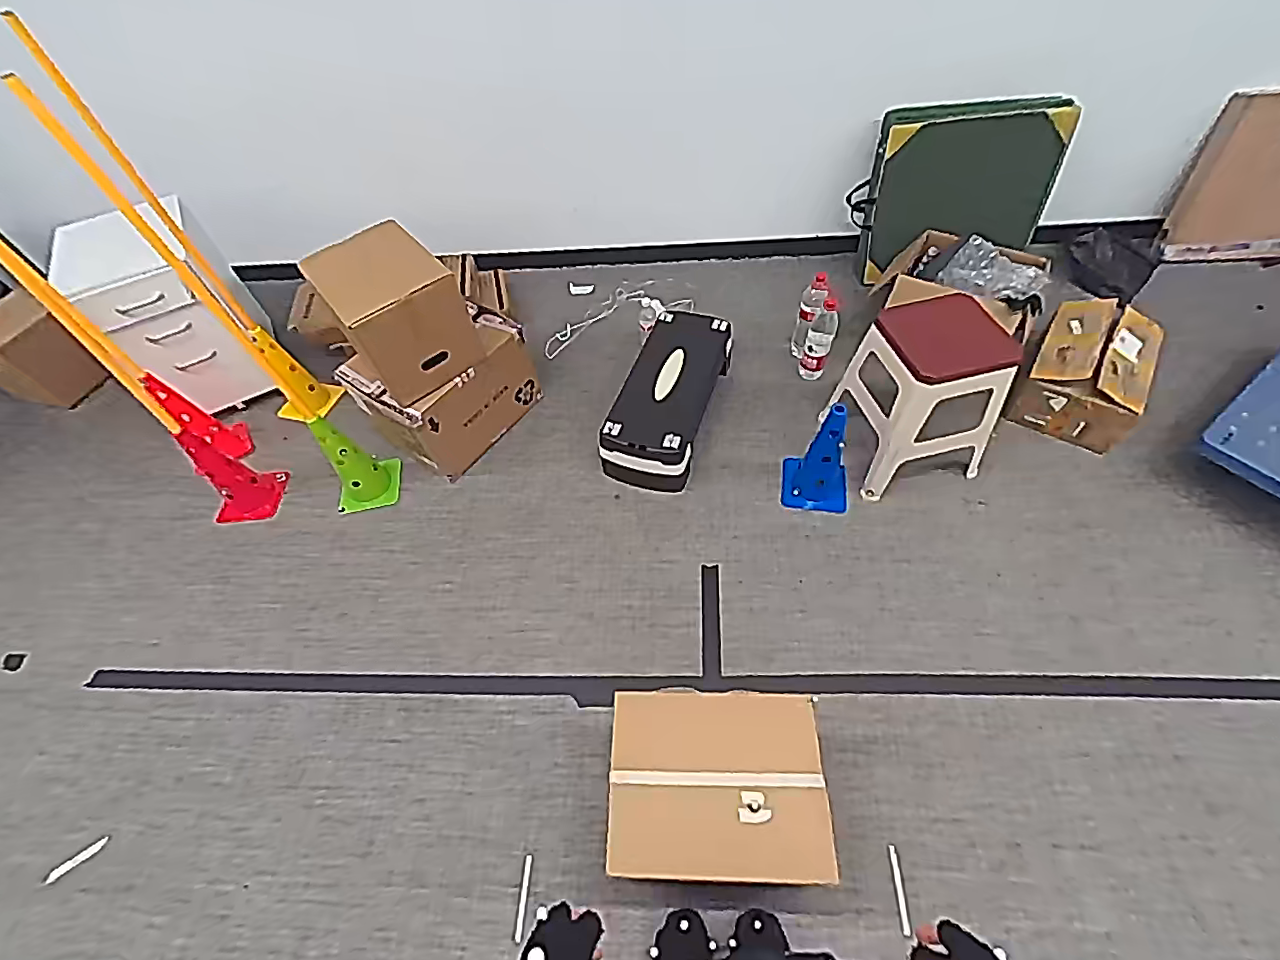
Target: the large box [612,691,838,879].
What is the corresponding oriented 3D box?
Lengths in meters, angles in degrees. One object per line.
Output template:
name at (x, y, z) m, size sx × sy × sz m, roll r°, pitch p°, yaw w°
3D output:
large box at (0.154, 0.650, 1.146) m, size 0.408 × 0.320 × 0.320 m, roll -1°, pitch 55°, yaw 3°
